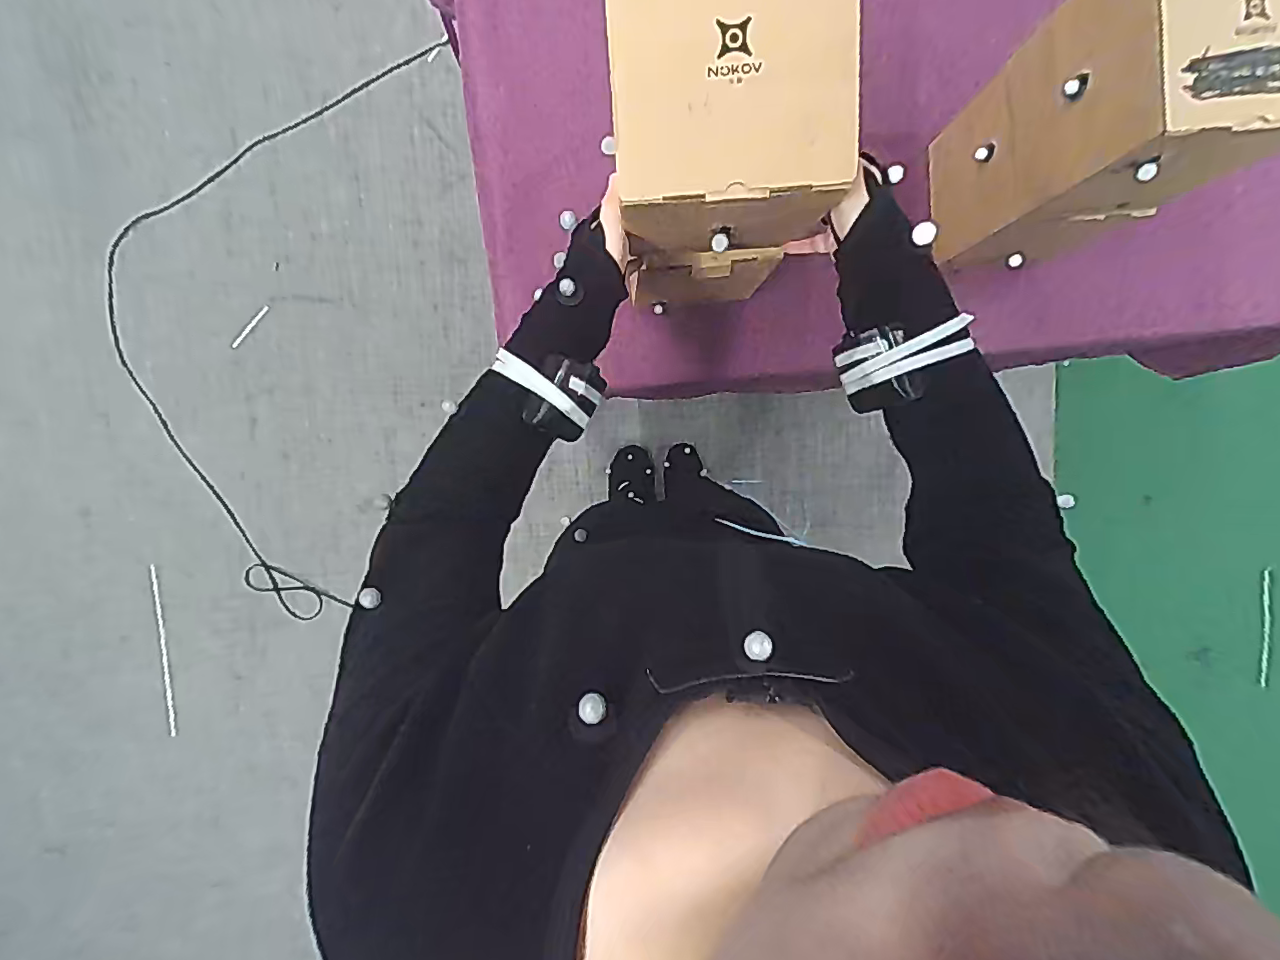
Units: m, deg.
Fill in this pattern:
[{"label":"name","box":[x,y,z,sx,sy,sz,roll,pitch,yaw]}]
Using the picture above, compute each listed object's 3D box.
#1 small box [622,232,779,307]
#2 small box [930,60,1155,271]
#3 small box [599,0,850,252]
[{"label":"small box","box":[0.063,-0.323,0.673,0.168,0.176,0.179,-7,92,-2]},{"label":"small box","box":[0.493,-0.384,0.685,0.168,0.176,0.179,-4,93,-1]},{"label":"small box","box":[0.060,-0.293,0.440,0.168,0.176,0.179,-4,101,2]}]
